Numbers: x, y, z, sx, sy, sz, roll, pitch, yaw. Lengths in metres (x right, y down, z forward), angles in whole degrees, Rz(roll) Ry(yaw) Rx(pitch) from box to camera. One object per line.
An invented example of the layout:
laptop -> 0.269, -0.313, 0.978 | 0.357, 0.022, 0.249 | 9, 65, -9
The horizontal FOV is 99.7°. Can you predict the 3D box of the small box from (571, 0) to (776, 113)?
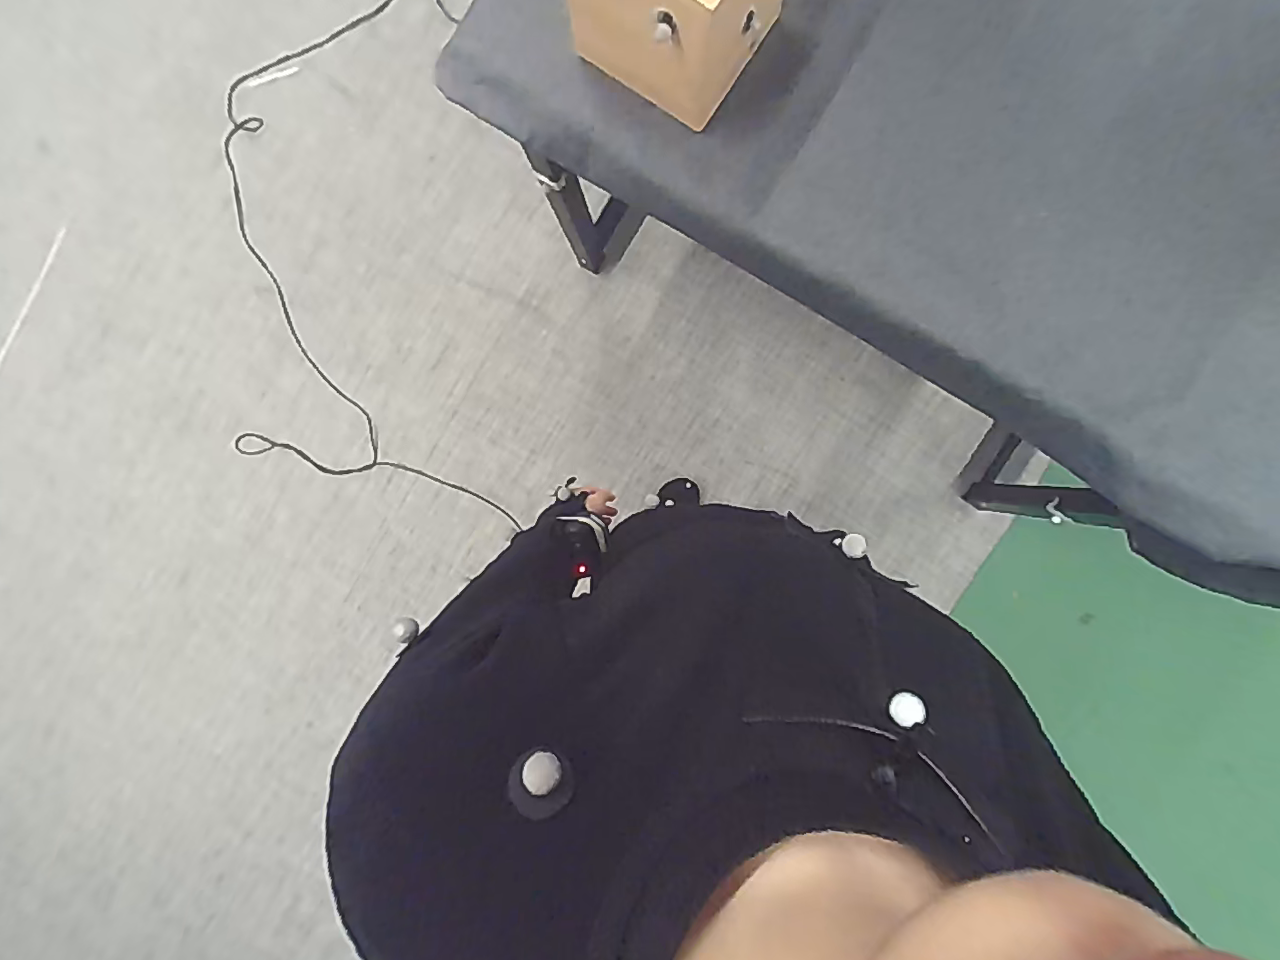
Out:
small box -> 0.040, -0.523, 0.548 | 0.179, 0.176, 0.168 | 34, 91, 2
